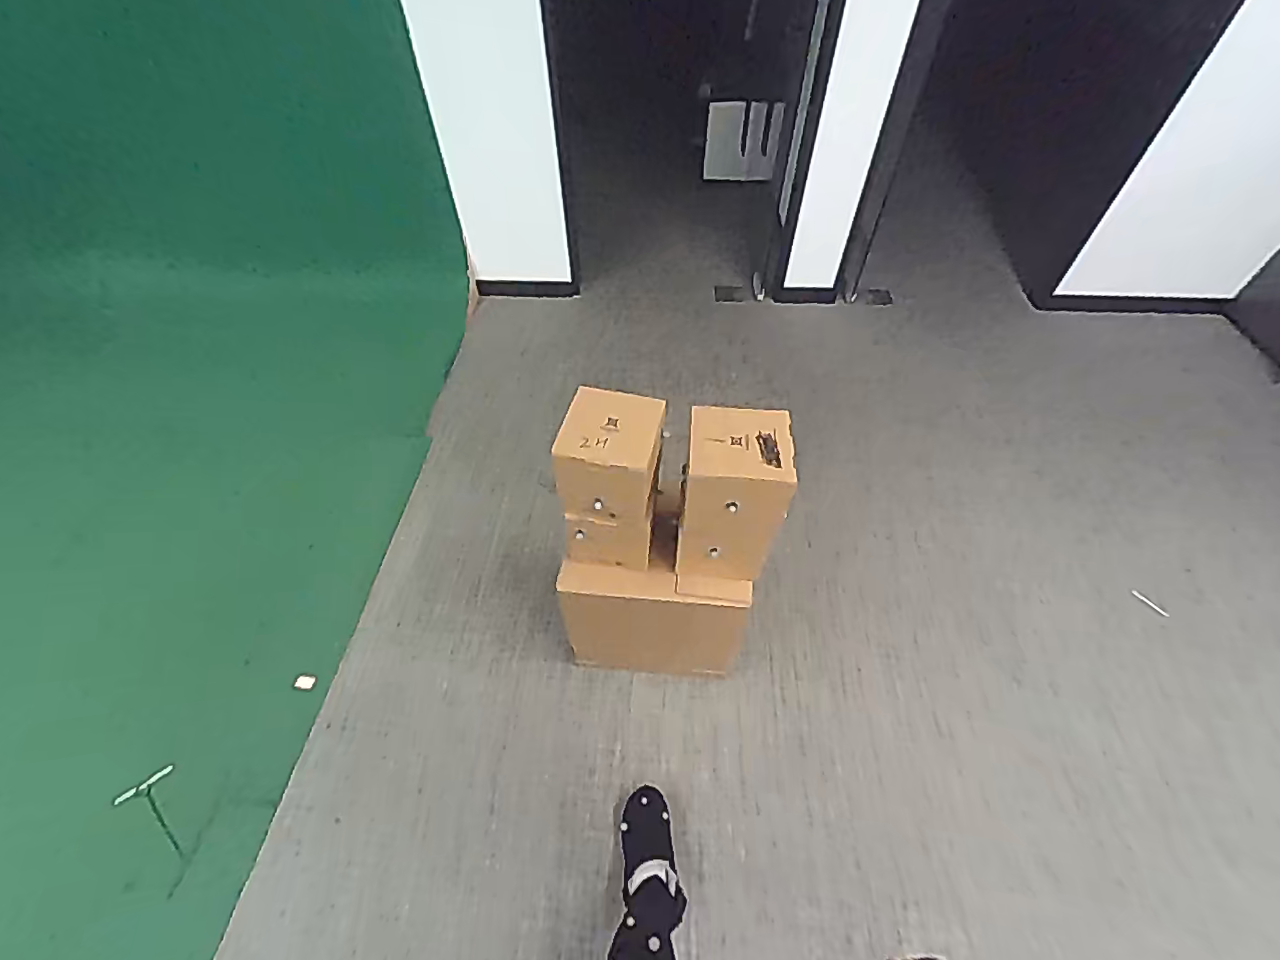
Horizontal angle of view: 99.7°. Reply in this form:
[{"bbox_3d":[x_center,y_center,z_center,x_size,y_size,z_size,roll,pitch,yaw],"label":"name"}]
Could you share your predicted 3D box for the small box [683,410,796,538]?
[{"bbox_3d":[0.172,-0.007,0.980,0.179,0.176,0.168,3,51,4],"label":"small box"}]
